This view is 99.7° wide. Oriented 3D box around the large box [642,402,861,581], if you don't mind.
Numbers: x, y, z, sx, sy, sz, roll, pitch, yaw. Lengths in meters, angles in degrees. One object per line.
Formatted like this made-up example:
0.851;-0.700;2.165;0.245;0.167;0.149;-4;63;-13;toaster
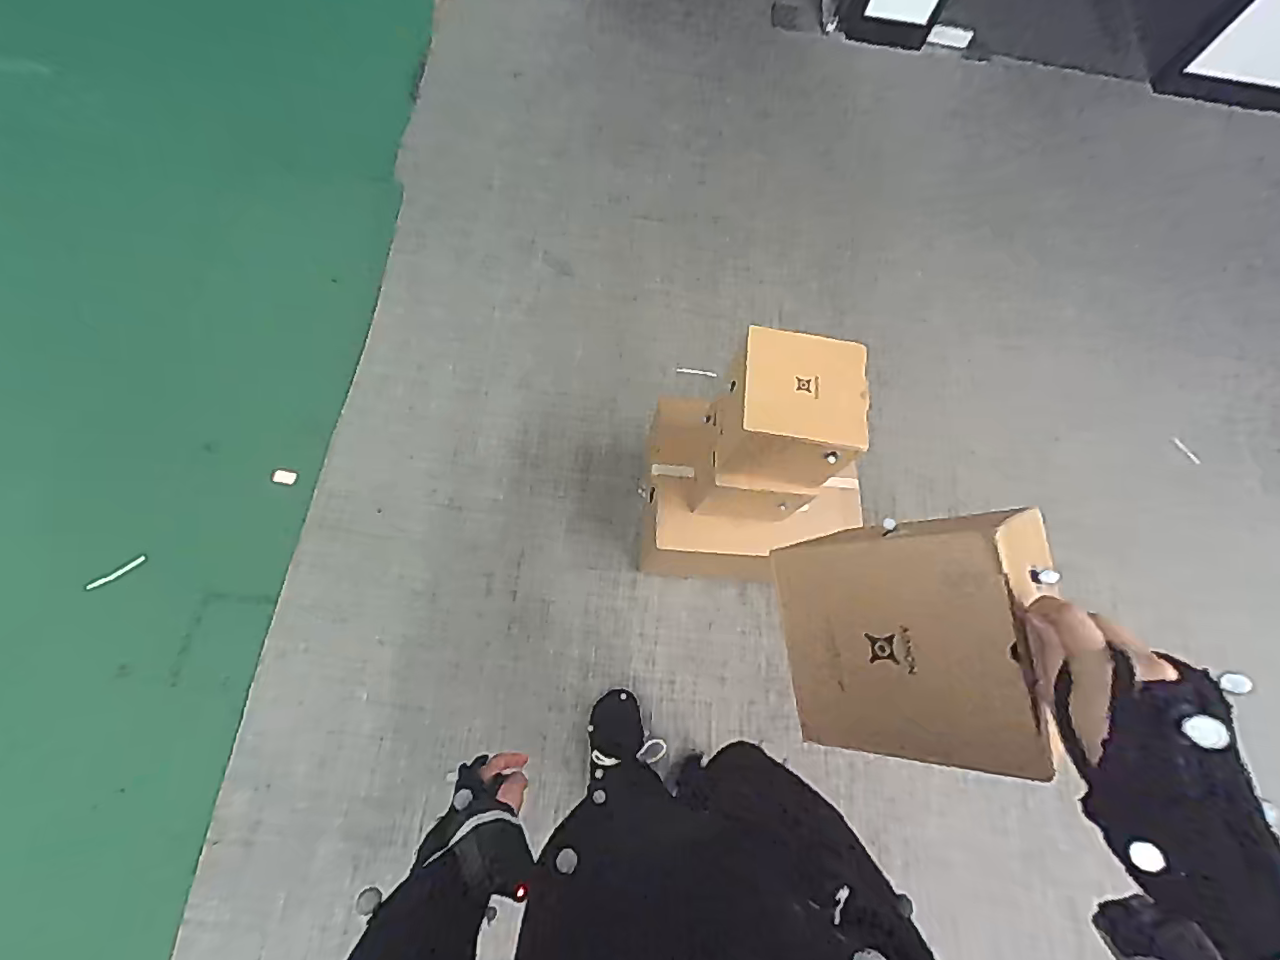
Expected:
0.220;0.045;1.198;0.408;0.320;0.320;4;72;-6;large box

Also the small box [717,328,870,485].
0.221;-0.101;0.815;0.179;0.176;0.168;8;70;-4;small box

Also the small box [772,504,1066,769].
0.243;0.116;0.465;0.176;0.179;0.168;-2;82;-46;small box
